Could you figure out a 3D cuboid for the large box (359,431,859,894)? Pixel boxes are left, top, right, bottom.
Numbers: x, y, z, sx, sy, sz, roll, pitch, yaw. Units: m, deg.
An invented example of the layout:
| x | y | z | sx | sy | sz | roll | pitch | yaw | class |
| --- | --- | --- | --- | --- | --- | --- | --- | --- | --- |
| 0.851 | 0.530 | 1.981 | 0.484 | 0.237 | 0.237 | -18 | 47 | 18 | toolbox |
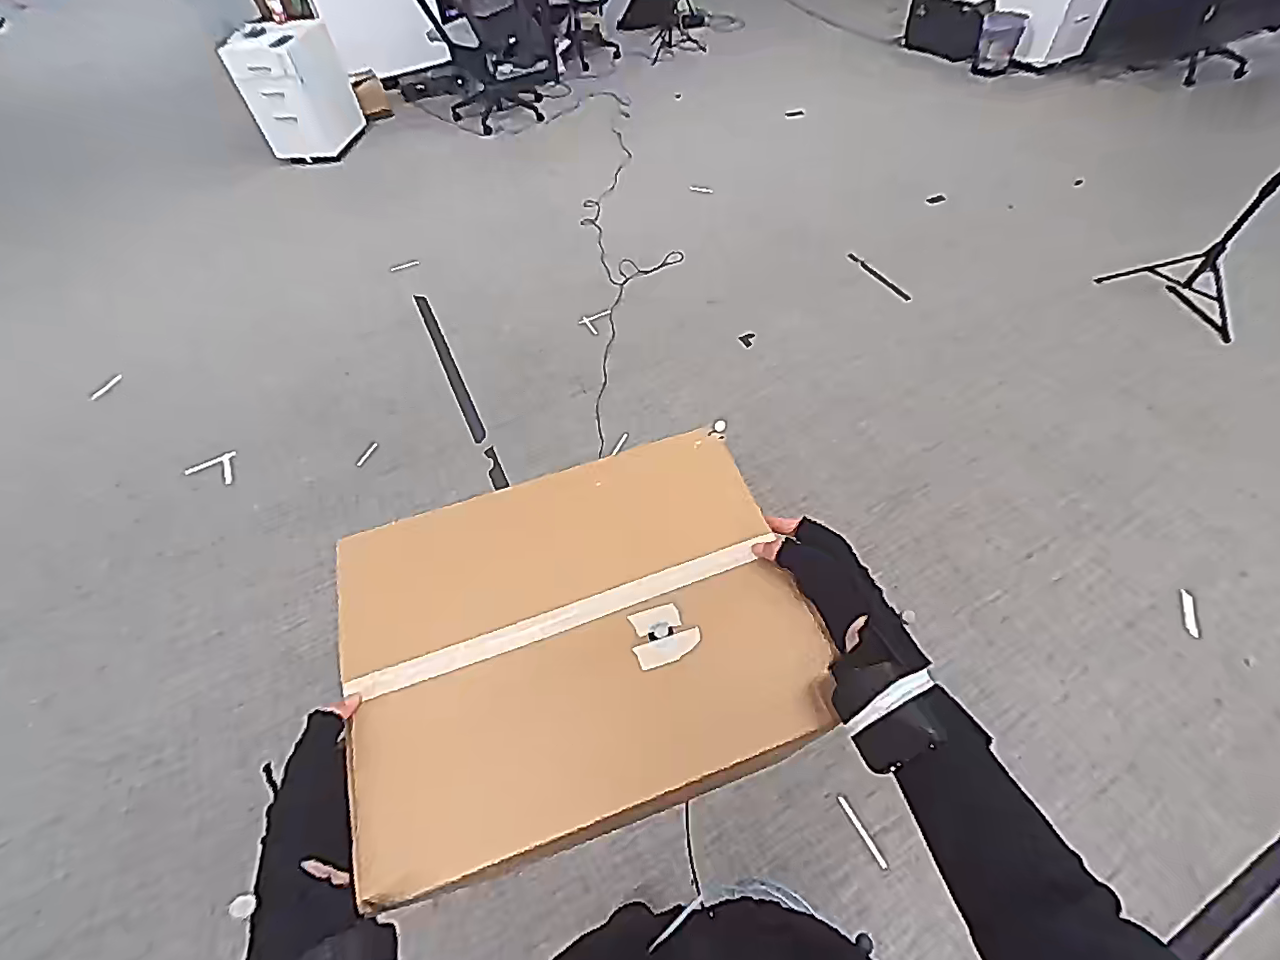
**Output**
| x | y | z | sx | sy | sz | roll | pitch | yaw | class |
| --- | --- | --- | --- | --- | --- | --- | --- | --- | --- |
| -0.045 | 0.204 | 0.624 | 0.408 | 0.320 | 0.320 | -17 | 59 | -10 | large box |
